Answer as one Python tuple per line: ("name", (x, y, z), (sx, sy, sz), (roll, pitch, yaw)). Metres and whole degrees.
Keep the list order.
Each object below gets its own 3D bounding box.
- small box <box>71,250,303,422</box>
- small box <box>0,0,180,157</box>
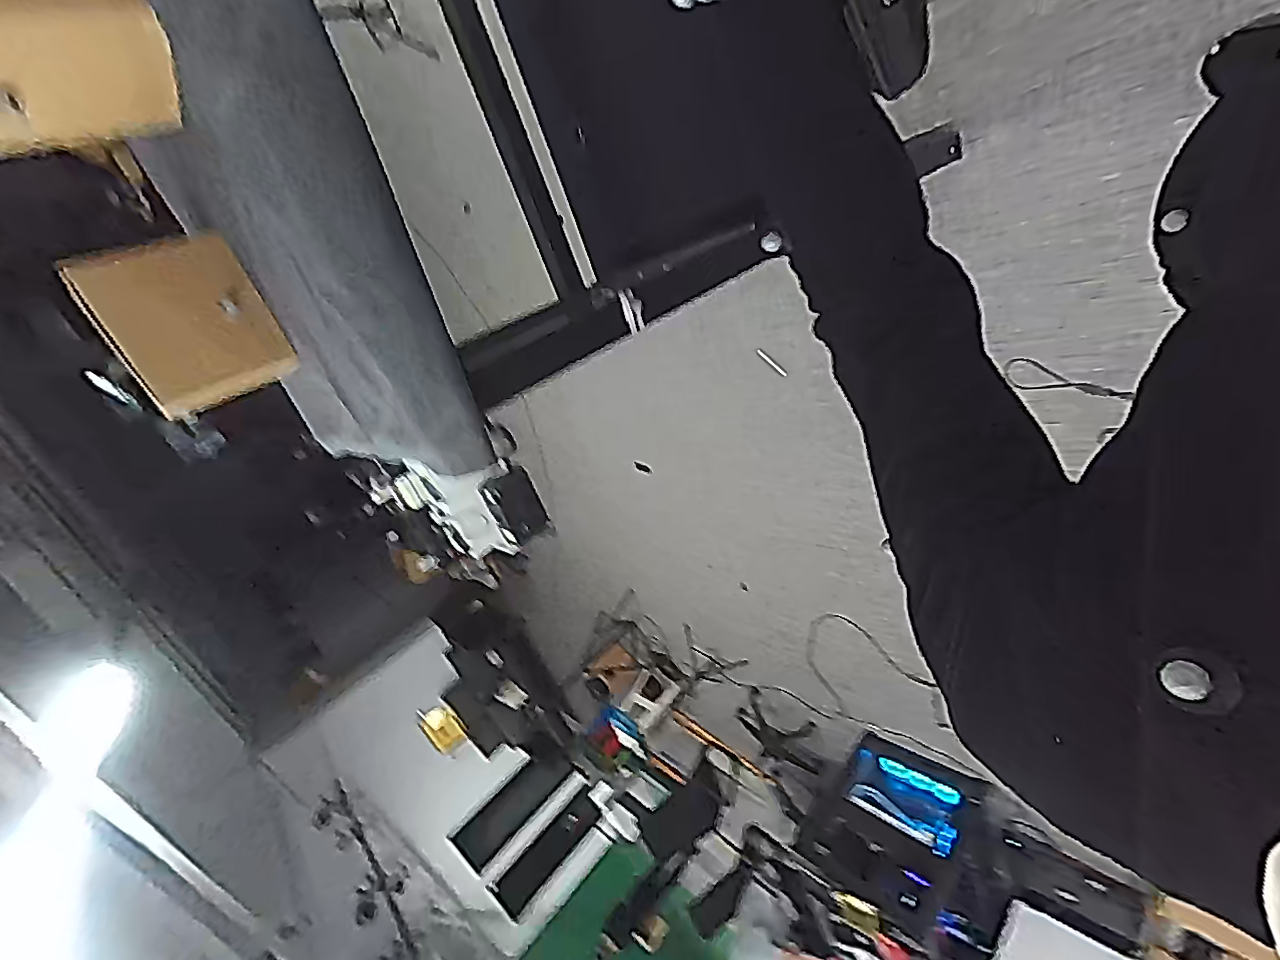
("small box", (-0.603, -0.196, 0.739), (0.168, 0.176, 0.179), (3, 123, 51))
("small box", (-0.509, -0.388, 0.428), (0.179, 0.176, 0.168), (2, 123, 53))
